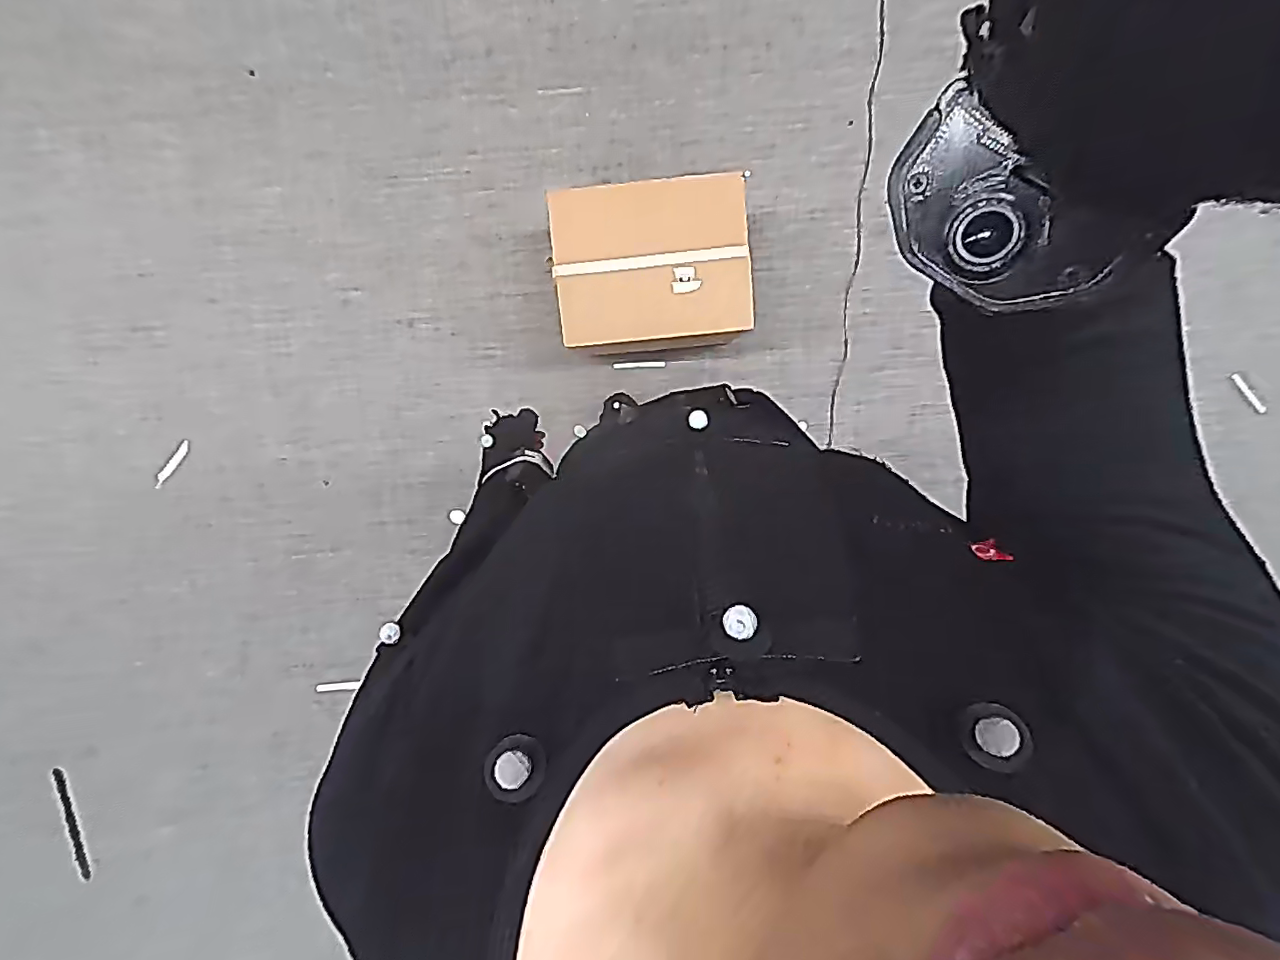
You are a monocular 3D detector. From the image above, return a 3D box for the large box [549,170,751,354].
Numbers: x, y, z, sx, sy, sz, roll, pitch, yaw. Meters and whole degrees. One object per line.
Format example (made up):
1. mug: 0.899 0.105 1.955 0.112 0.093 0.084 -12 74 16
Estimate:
1. large box: 0.023 -0.485 1.275 0.408 0.320 0.320 -6 100 1
